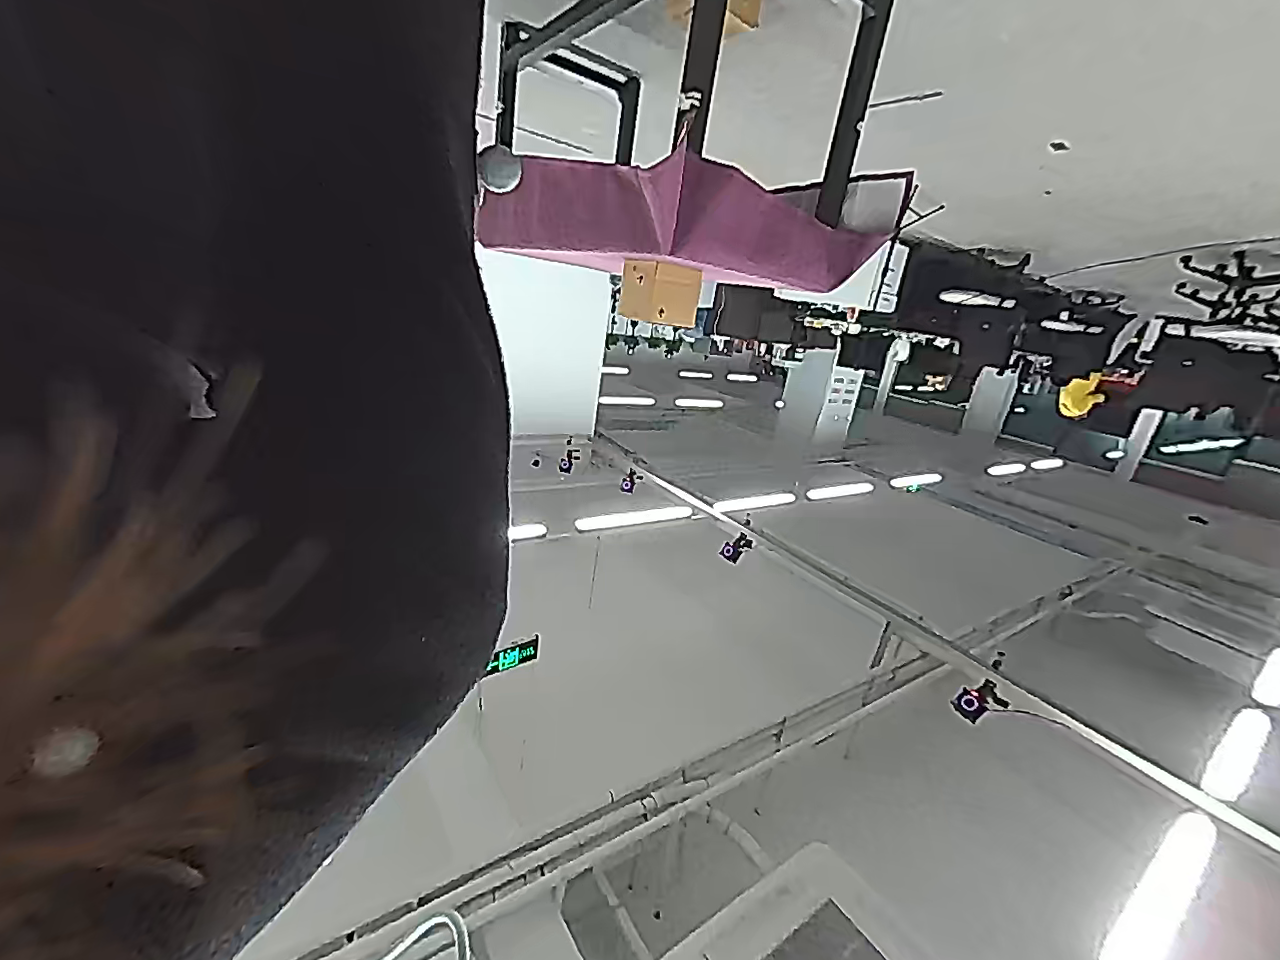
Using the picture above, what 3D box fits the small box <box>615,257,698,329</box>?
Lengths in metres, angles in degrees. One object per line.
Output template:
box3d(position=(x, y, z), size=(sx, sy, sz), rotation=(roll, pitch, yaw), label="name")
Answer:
box3d(position=(0.051, -0.555, 1.607), size=(0.179, 0.176, 0.168), rotation=(-5, -157, -36), label="small box")
